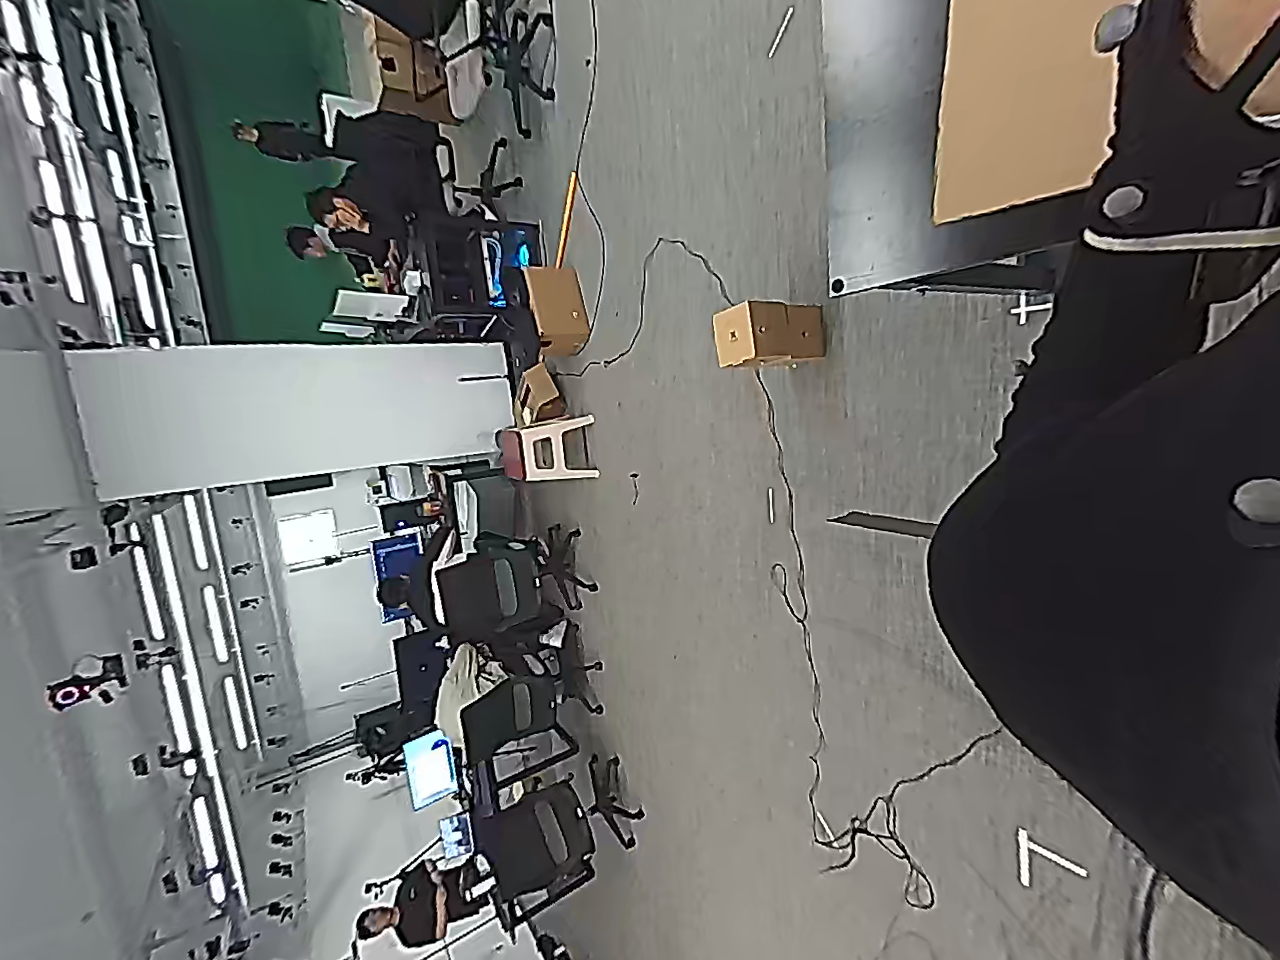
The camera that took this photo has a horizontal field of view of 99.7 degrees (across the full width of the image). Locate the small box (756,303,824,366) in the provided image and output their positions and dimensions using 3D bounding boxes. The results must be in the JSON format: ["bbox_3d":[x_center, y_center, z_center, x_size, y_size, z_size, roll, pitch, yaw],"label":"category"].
[{"bbox_3d":[0.500,-0.488,1.828,0.168,0.176,0.179,2,101,58],"label":"small box"}]

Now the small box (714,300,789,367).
[{"bbox_3d":[0.363,-0.469,1.742,0.168,0.176,0.179,-4,94,57],"label":"small box"}]
